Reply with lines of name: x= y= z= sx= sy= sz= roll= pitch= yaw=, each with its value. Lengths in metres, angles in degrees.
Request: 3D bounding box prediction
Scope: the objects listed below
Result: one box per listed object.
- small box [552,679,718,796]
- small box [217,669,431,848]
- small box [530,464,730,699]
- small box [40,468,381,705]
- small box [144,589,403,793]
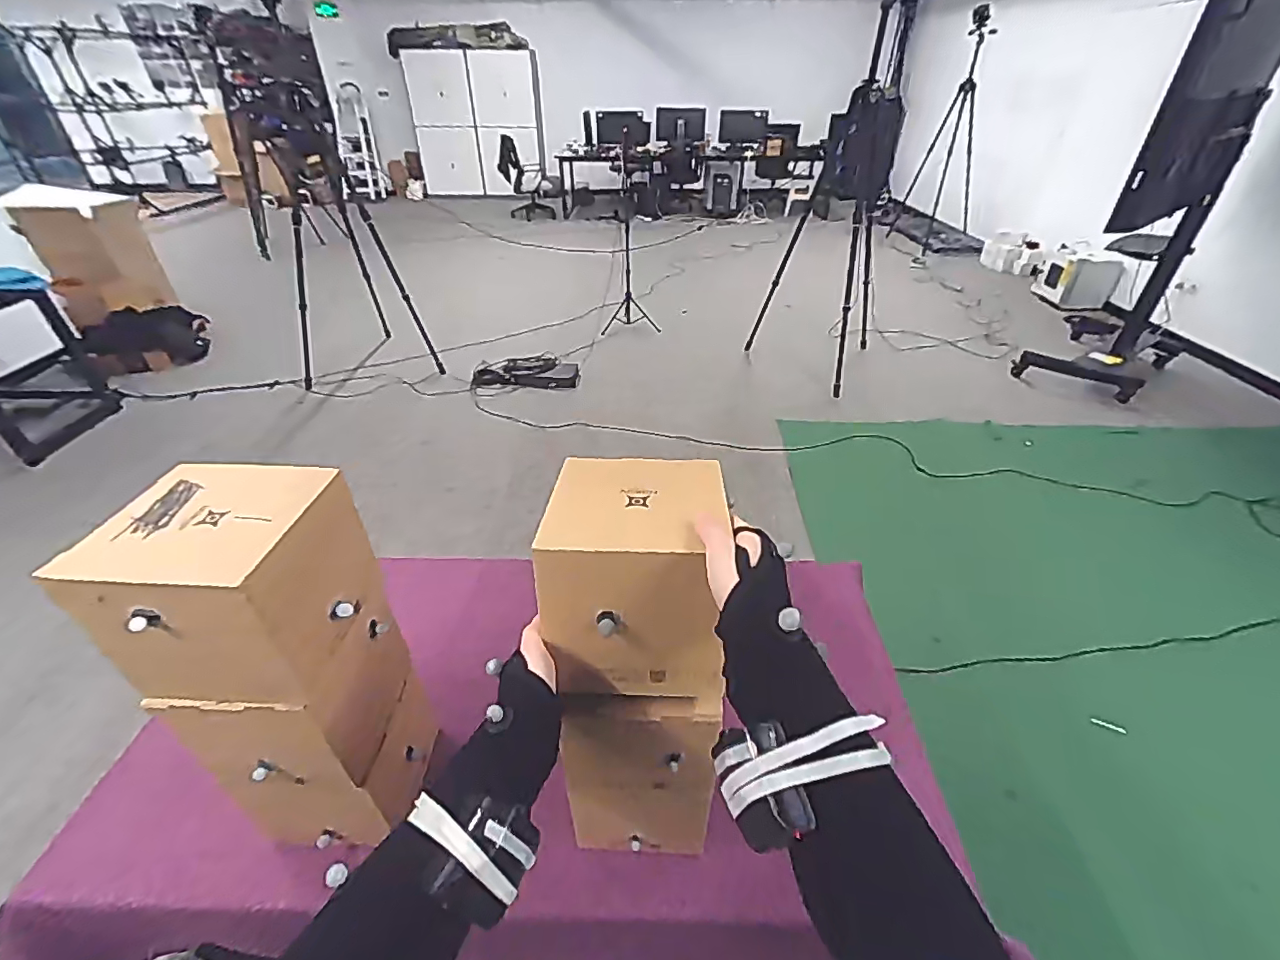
small box: x=-0.001 y=0.245 z=0.633 sx=0.168 sy=0.176 sz=0.179 roll=1 pitch=36 yaw=1
small box: x=-0.403 y=0.374 z=0.733 sx=0.179 sy=0.176 sz=0.168 roll=1 pitch=36 yaw=-1
small box: x=-0.003 y=0.095 z=0.541 sx=0.168 sy=0.176 sz=0.179 roll=1 pitch=27 yaw=2
small box: x=-0.396 y=0.105 z=0.542 sx=0.179 sy=0.176 sz=0.168 roll=3 pitch=36 yaw=2
small box: x=-0.402 y=0.238 z=0.639 sx=0.168 sy=0.176 sz=0.179 roll=1 pitch=37 yaw=1
